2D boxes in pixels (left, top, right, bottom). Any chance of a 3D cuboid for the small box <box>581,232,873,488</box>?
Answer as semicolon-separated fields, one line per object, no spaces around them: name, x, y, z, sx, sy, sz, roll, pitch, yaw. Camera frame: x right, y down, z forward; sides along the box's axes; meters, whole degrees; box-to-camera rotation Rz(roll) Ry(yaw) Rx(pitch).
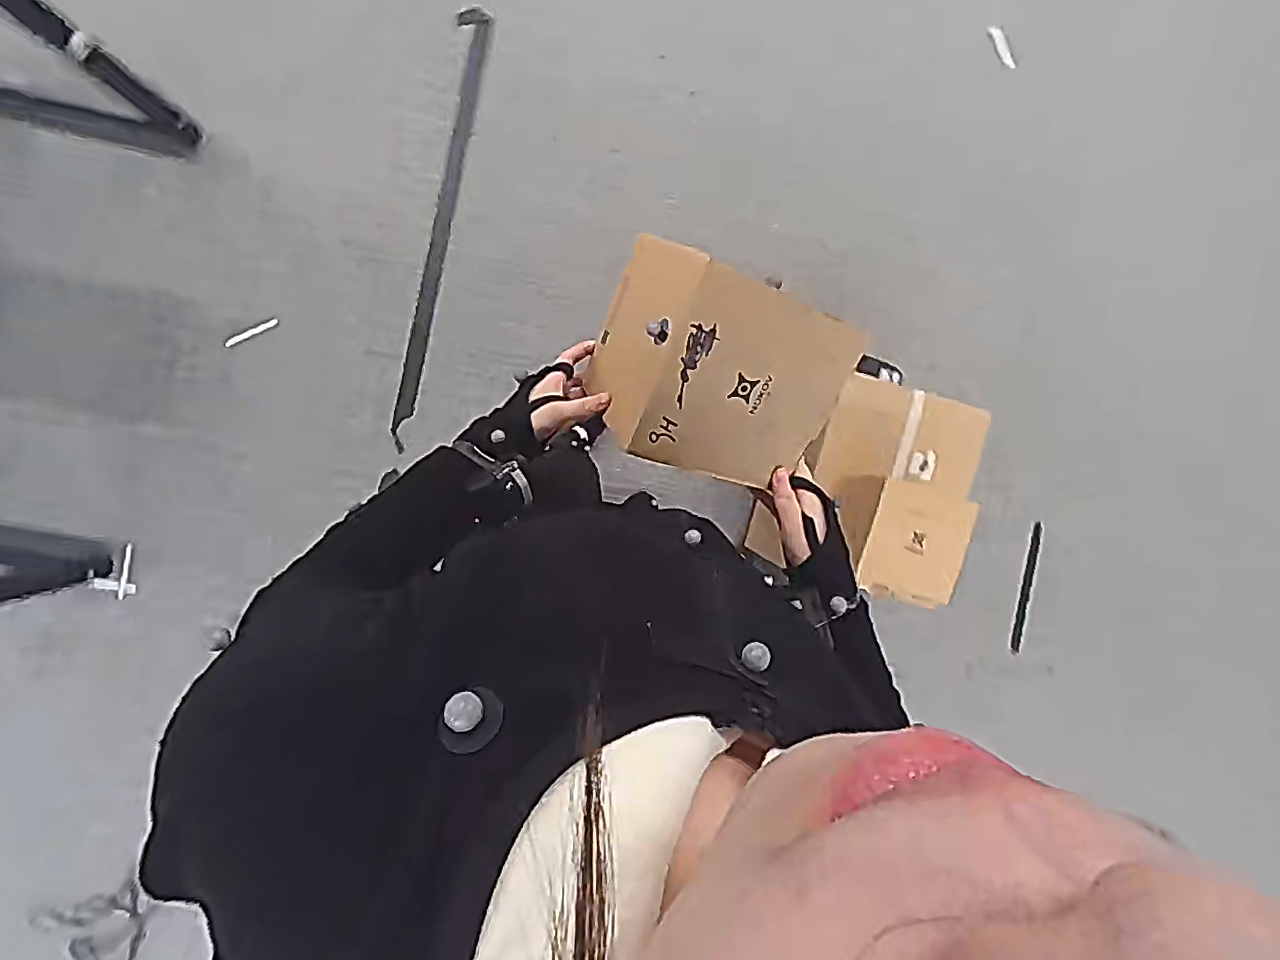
small box;0.066;-0.116;0.506;0.179;0.176;0.168;13;112;-27

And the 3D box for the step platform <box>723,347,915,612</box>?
step platform;0.461;-0.010;1.415;0.286;0.204;0.684;18;90;-4

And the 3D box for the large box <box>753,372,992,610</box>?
large box;0.474;0.024;1.178;0.320;0.320;0.408;16;90;-5

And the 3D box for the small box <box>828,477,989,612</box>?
small box;0.448;0.102;0.933;0.168;0.176;0.179;18;90;-4
